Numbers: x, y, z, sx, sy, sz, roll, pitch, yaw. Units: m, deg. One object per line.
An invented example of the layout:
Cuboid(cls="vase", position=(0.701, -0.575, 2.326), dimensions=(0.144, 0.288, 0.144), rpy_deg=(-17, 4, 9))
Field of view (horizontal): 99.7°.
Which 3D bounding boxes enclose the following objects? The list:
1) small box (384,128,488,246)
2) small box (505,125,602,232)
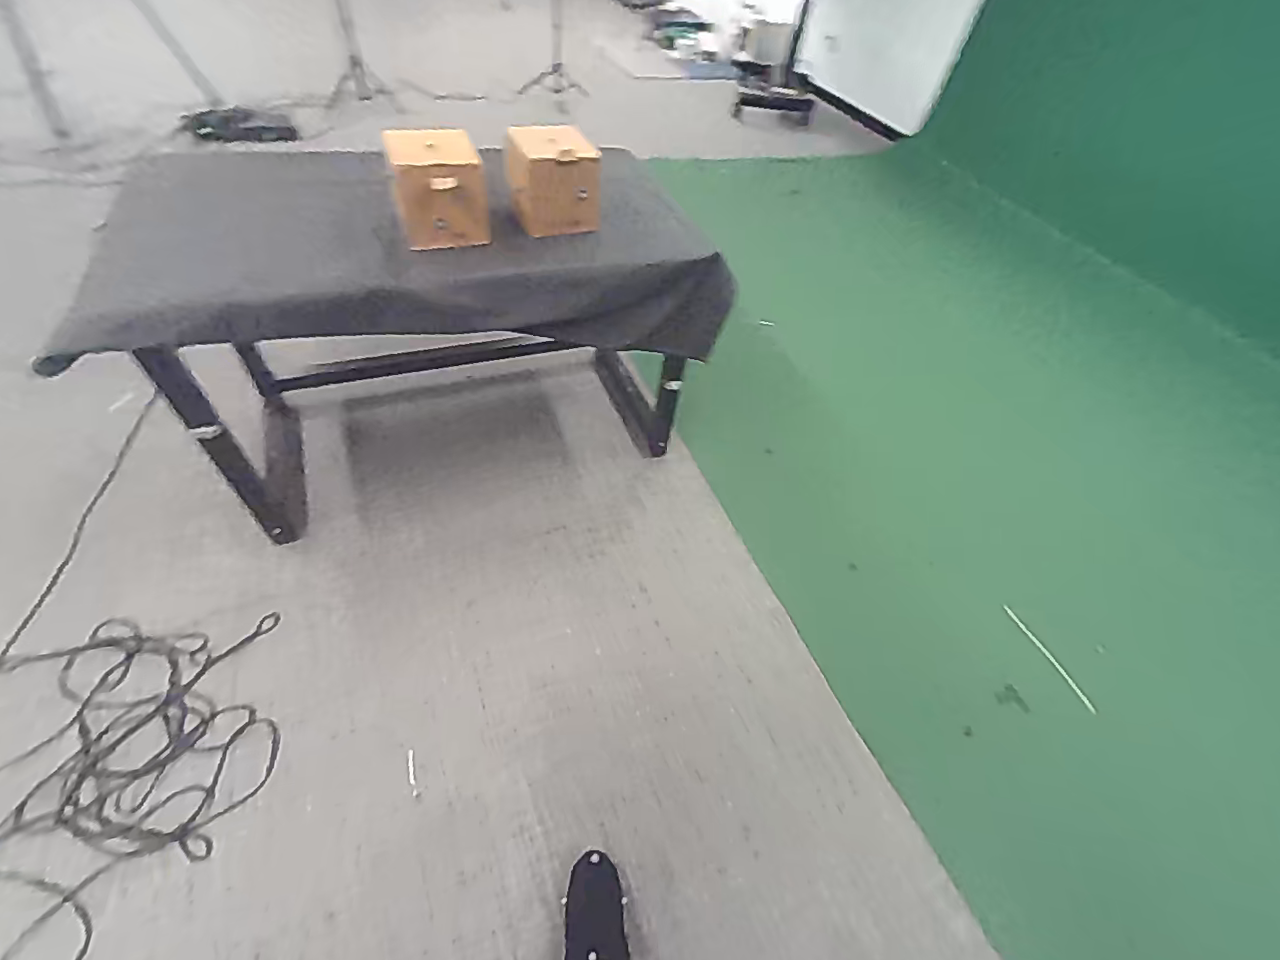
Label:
Cuboid(cls="small box", position=(-0.423, -0.612, 1.131), dimensions=(0.168, 0.176, 0.179), rpy_deg=(-14, 54, -20))
Cuboid(cls="small box", position=(-0.197, -0.678, 1.222), dimensions=(0.168, 0.176, 0.179), rpy_deg=(-16, 53, -22))
